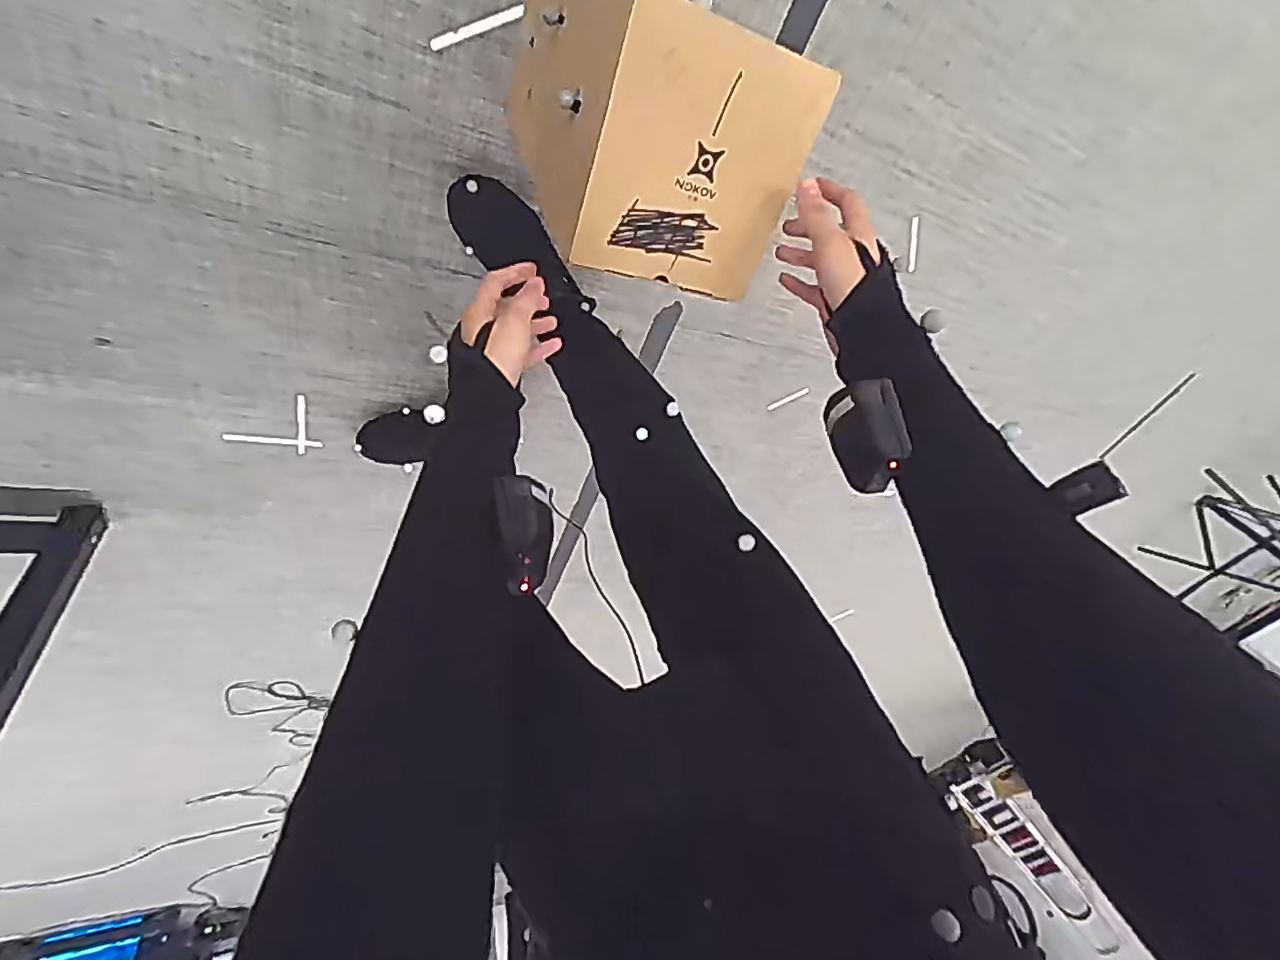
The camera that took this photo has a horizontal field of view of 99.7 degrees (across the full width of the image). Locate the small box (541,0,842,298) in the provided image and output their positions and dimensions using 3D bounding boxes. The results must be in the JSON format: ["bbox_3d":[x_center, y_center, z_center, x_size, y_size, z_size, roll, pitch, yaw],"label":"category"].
[{"bbox_3d":[0.021,-0.284,0.451,0.168,0.176,0.179,3,132,-26],"label":"small box"}]

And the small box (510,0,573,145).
[{"bbox_3d":[-0.059,-0.514,0.672,0.168,0.176,0.179,4,132,-26],"label":"small box"}]
